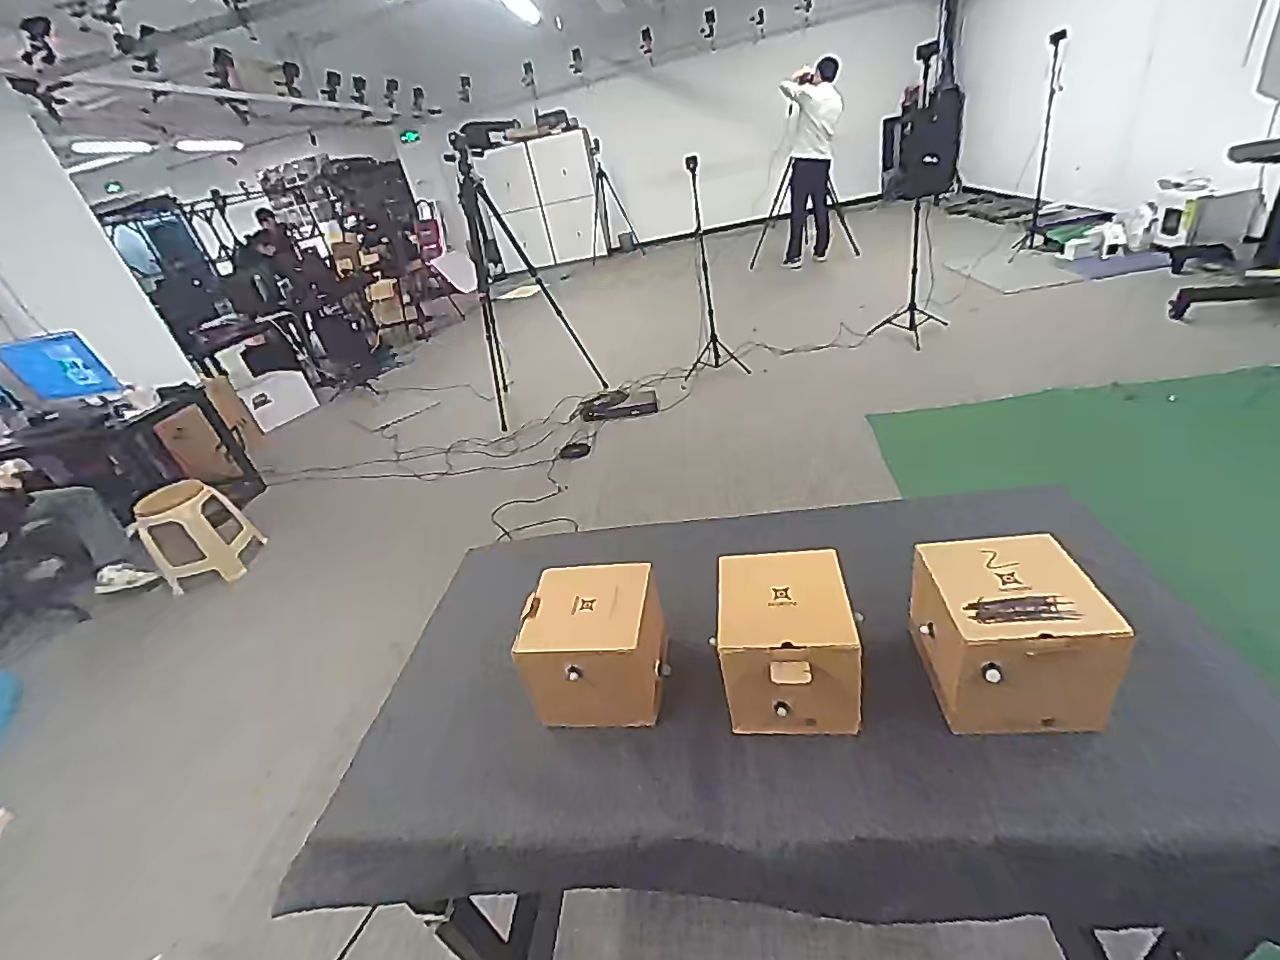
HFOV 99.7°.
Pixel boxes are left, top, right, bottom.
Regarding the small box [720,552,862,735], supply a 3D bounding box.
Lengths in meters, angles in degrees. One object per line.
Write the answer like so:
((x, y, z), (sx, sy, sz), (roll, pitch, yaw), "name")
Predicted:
((0.201, 0.222, 0.748), (0.168, 0.176, 0.179), (-5, 32, 12), "small box")

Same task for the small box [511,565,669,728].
((-0.062, 0.246, 0.805), (0.179, 0.176, 0.168), (-4, 32, 13), "small box")
